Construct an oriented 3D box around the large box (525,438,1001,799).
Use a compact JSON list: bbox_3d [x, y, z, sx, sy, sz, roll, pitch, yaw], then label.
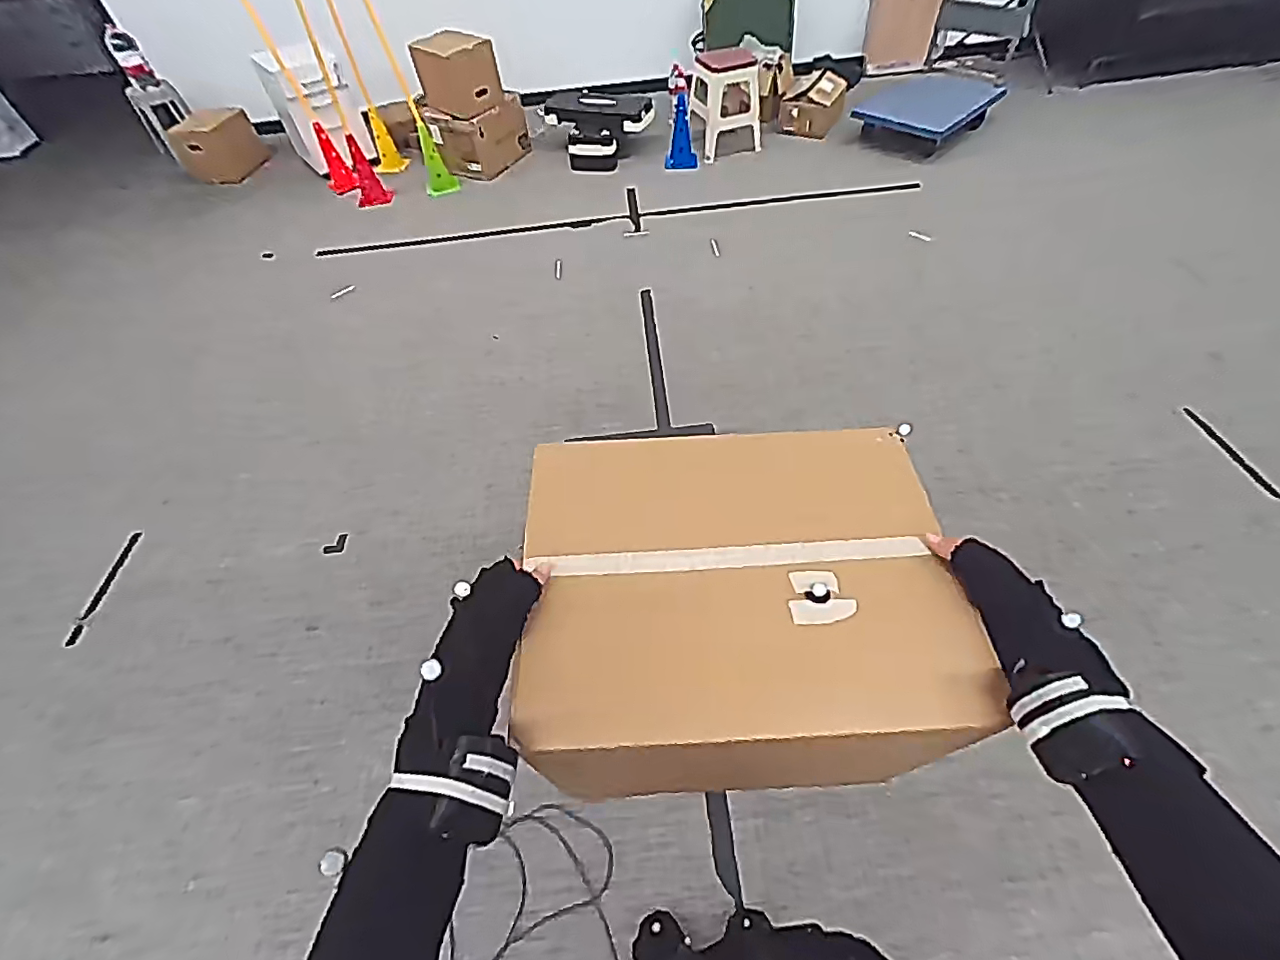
[{"bbox_3d":[0.096,0.174,0.648,0.408,0.320,0.320,-3,53,-1],"label":"large box"}]
